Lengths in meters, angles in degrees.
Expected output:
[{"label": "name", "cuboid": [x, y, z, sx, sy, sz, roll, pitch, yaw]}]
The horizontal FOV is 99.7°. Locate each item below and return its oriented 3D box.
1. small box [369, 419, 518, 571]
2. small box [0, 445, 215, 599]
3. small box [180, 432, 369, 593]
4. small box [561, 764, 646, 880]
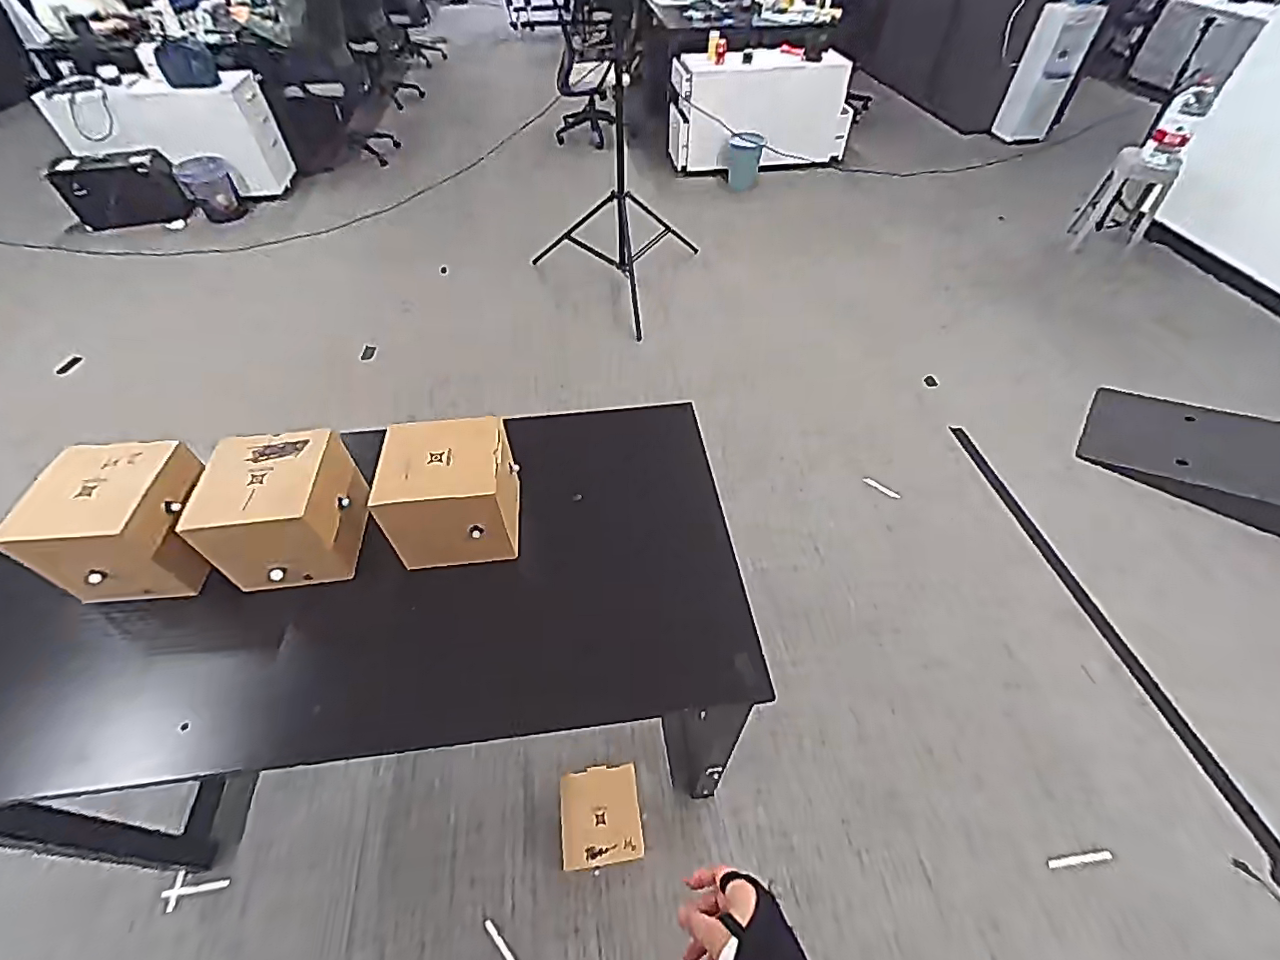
[{"label": "small box", "cuboid": [-0.295, 0.025, 0.858, 0.179, 0.176, 0.168, -7, 48, -4]}, {"label": "small box", "cuboid": [-0.764, 0.070, 0.820, 0.168, 0.176, 0.179, -3, 49, -4]}, {"label": "small box", "cuboid": [-0.541, 0.051, 0.834, 0.168, 0.176, 0.179, -7, 51, -6]}, {"label": "small box", "cuboid": [-0.080, 0.751, 1.188, 0.168, 0.176, 0.179, -7, 49, -5]}]
